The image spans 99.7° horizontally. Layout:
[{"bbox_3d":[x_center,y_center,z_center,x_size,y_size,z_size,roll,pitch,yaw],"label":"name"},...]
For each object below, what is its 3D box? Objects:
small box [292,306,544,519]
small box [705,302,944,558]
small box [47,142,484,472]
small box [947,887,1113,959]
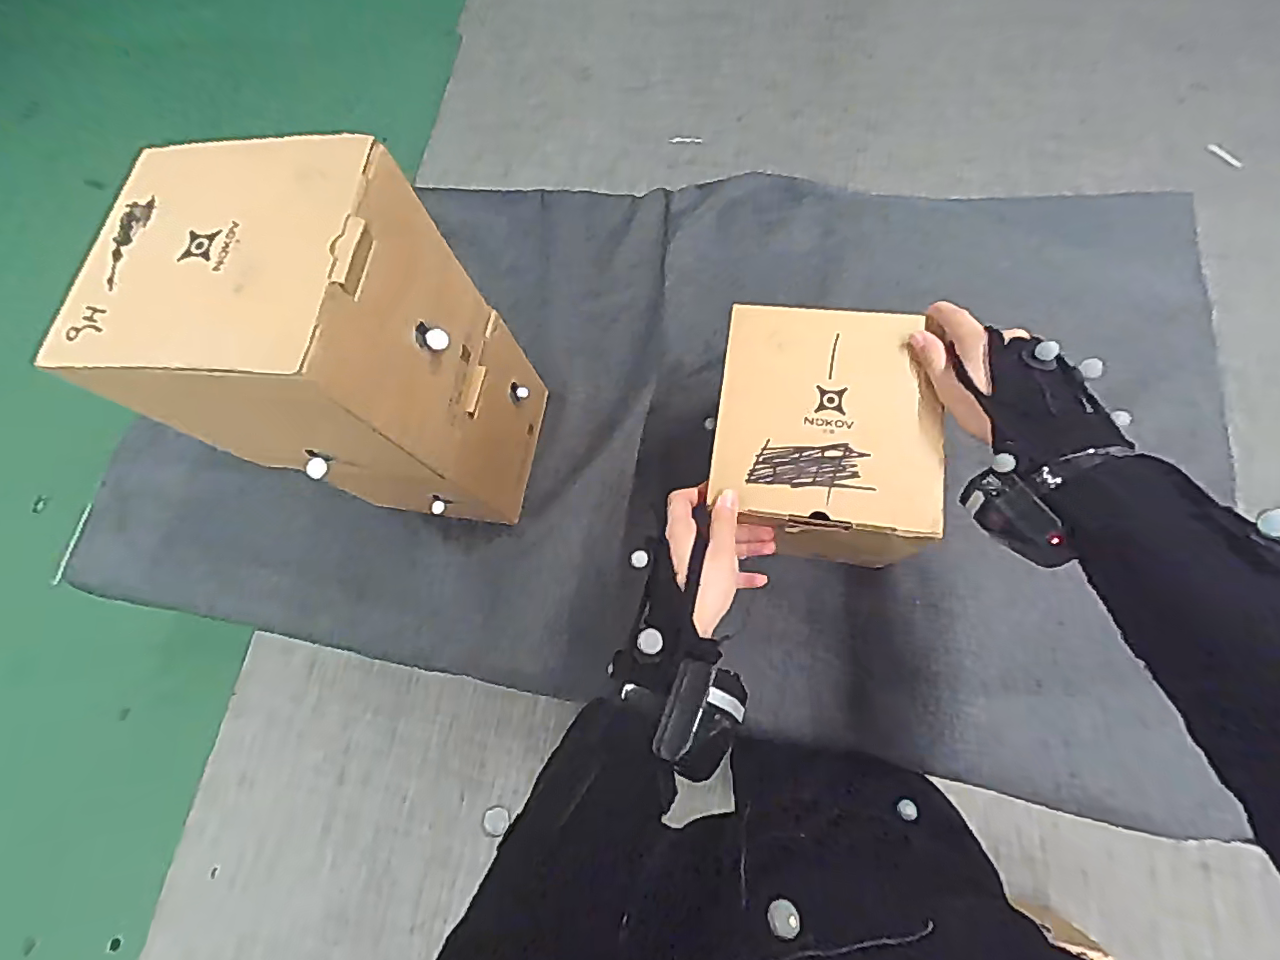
[{"bbox_3d":[-0.214,-0.064,0.554,0.179,0.176,0.168,6,71,11],"label":"small box"},{"bbox_3d":[0.154,-0.034,0.488,0.168,0.176,0.179,7,73,10],"label":"small box"},{"bbox_3d":[-0.237,-0.111,0.397,0.179,0.176,0.168,4,71,9],"label":"small box"},{"bbox_3d":[0.644,0.824,0.907,0.179,0.176,0.168,8,72,11],"label":"small box"}]
